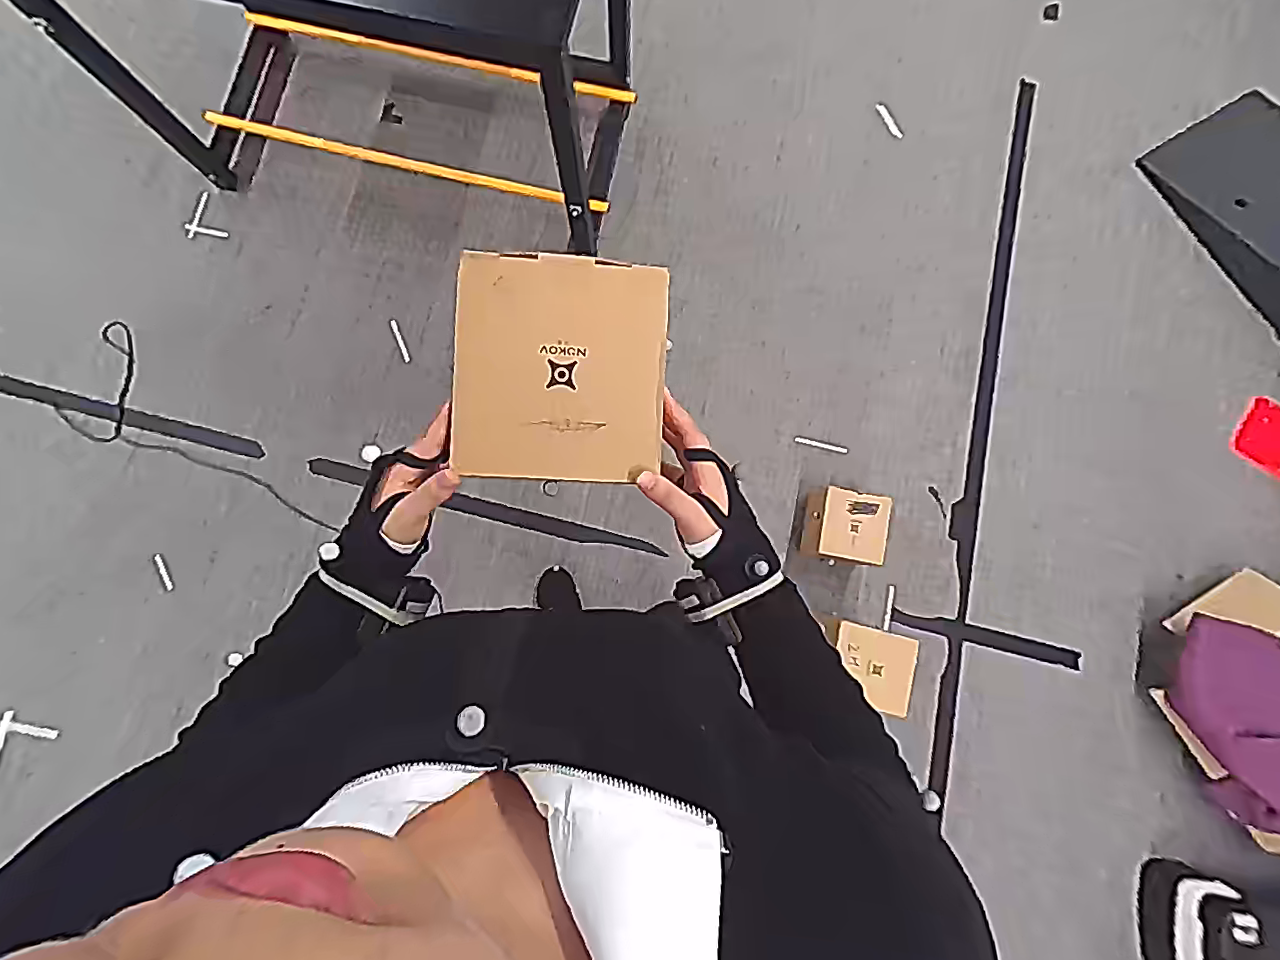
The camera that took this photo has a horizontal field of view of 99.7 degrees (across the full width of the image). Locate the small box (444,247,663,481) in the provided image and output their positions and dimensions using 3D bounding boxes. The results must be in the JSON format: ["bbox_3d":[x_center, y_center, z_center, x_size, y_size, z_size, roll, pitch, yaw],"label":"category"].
[{"bbox_3d":[-0.074,-0.091,0.504,0.168,0.176,0.179,2,90,-5],"label":"small box"}]

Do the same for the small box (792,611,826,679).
[{"bbox_3d":[0.507,0.439,1.394,0.179,0.176,0.168,13,82,3],"label":"small box"}]

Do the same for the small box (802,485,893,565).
[{"bbox_3d":[0.545,0.123,1.439,0.168,0.176,0.179,11,82,2],"label":"small box"}]

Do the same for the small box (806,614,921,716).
[{"bbox_3d":[0.501,0.410,1.231,0.179,0.176,0.168,15,81,3],"label":"small box"}]
